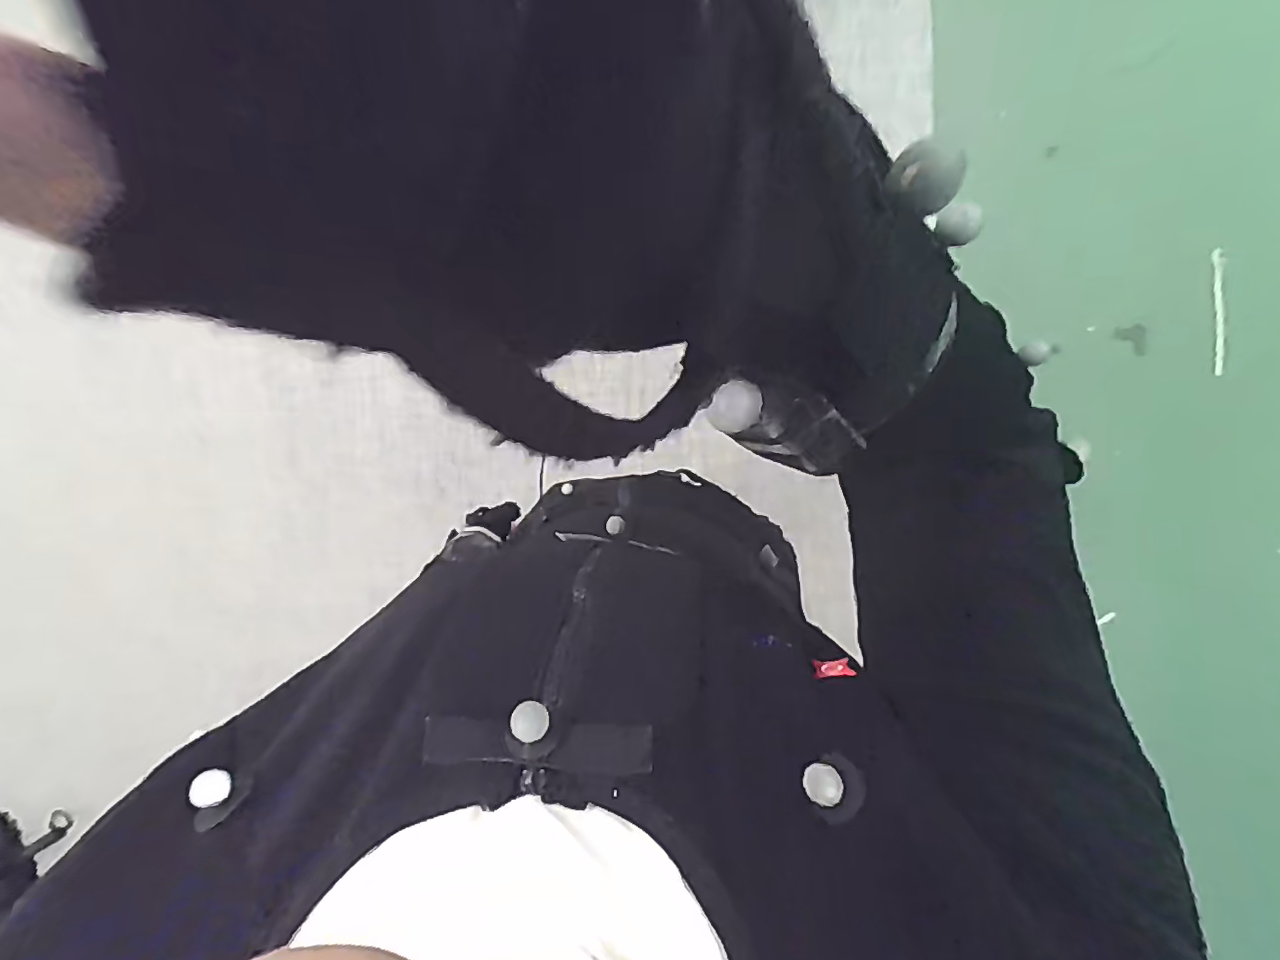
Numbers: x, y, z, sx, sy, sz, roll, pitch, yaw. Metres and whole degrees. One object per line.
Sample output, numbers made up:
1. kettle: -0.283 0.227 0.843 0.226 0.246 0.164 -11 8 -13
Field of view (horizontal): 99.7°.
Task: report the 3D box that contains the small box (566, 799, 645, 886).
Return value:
1. small box: -0.082 0.932 1.357 0.179 0.176 0.168 1 90 4
